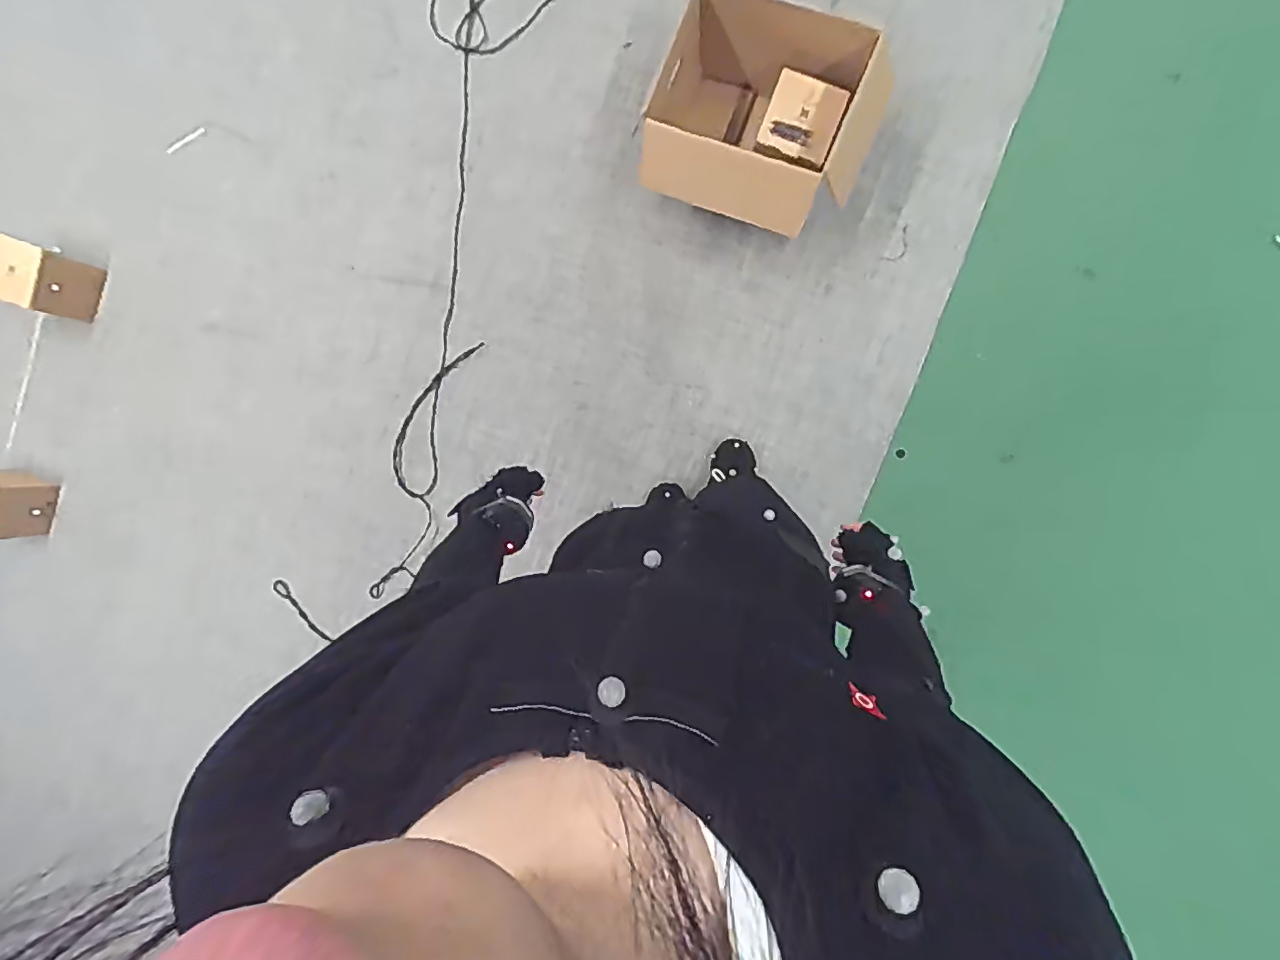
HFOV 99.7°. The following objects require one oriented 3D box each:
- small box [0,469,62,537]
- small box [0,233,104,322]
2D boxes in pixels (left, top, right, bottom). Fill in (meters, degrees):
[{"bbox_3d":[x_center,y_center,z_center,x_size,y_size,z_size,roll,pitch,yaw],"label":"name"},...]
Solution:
[{"bbox_3d":[-1.932,0.068,1.633,0.179,0.176,0.168,19,95,5],"label":"small box"},{"bbox_3d":[-1.729,-0.584,1.573,0.168,0.176,0.179,19,96,5],"label":"small box"}]
